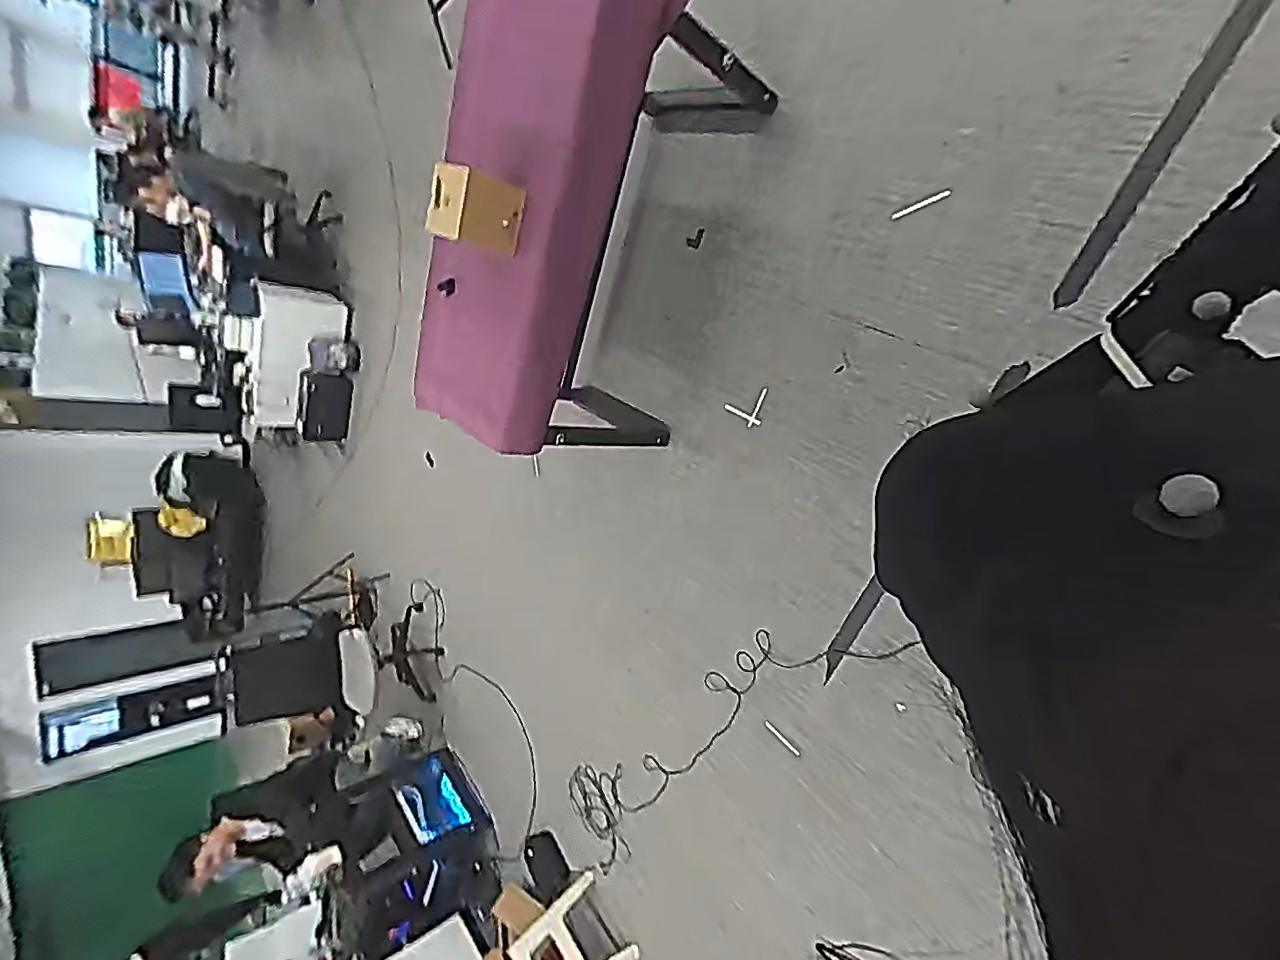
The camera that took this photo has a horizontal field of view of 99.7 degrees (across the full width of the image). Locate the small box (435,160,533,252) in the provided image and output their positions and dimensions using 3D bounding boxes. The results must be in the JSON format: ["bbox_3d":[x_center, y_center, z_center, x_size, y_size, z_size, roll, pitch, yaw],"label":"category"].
[{"bbox_3d":[-0.406,-0.707,1.406,0.179,0.176,0.168,33,115,38],"label":"small box"}]
